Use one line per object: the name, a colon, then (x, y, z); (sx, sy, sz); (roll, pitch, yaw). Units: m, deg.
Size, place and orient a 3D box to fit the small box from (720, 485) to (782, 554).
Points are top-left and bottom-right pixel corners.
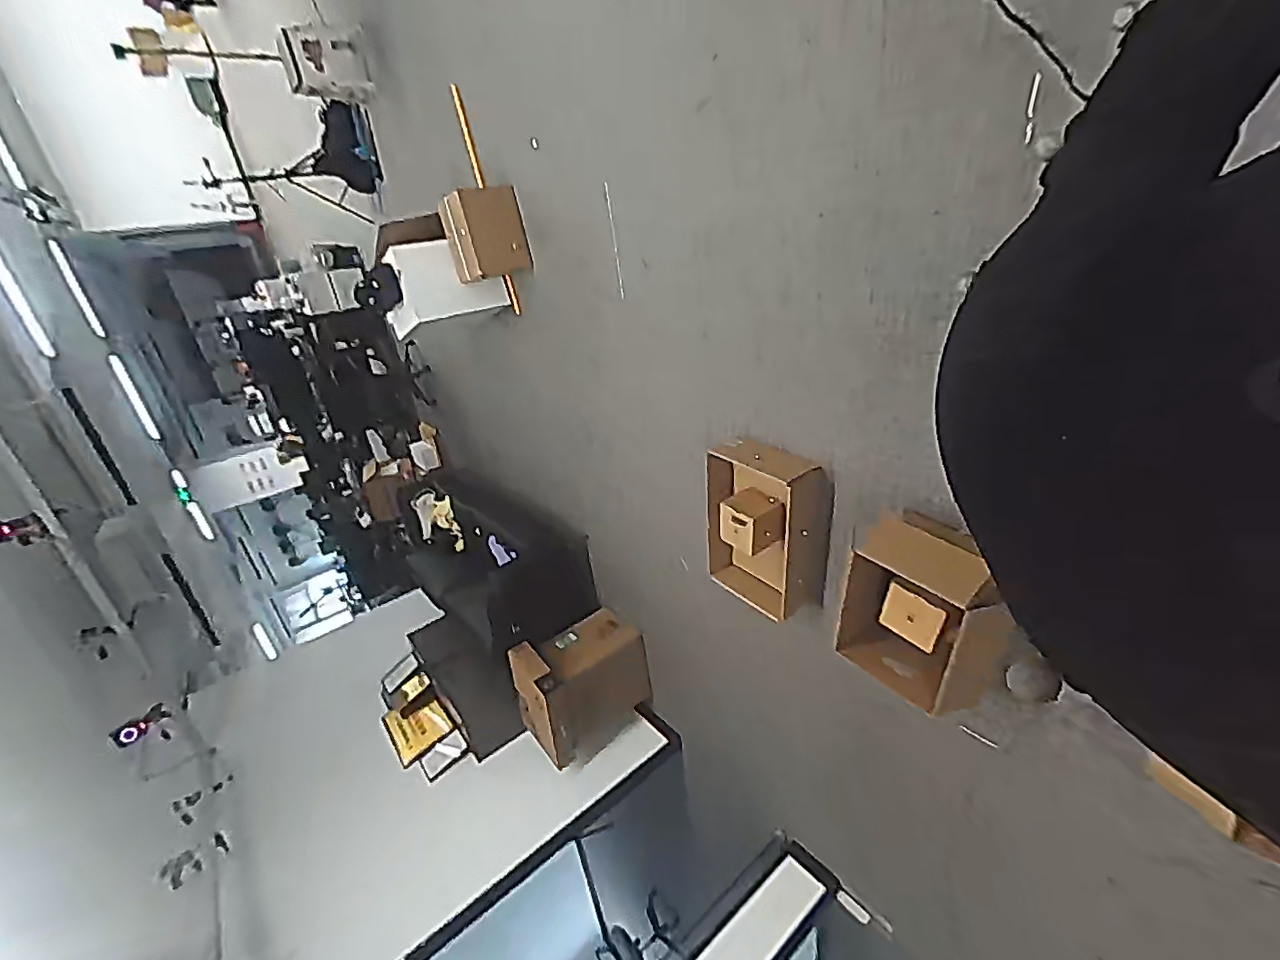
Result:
small box: (0.424, 0.144, 2.067); (0.168, 0.176, 0.179); (31, 137, 44)
